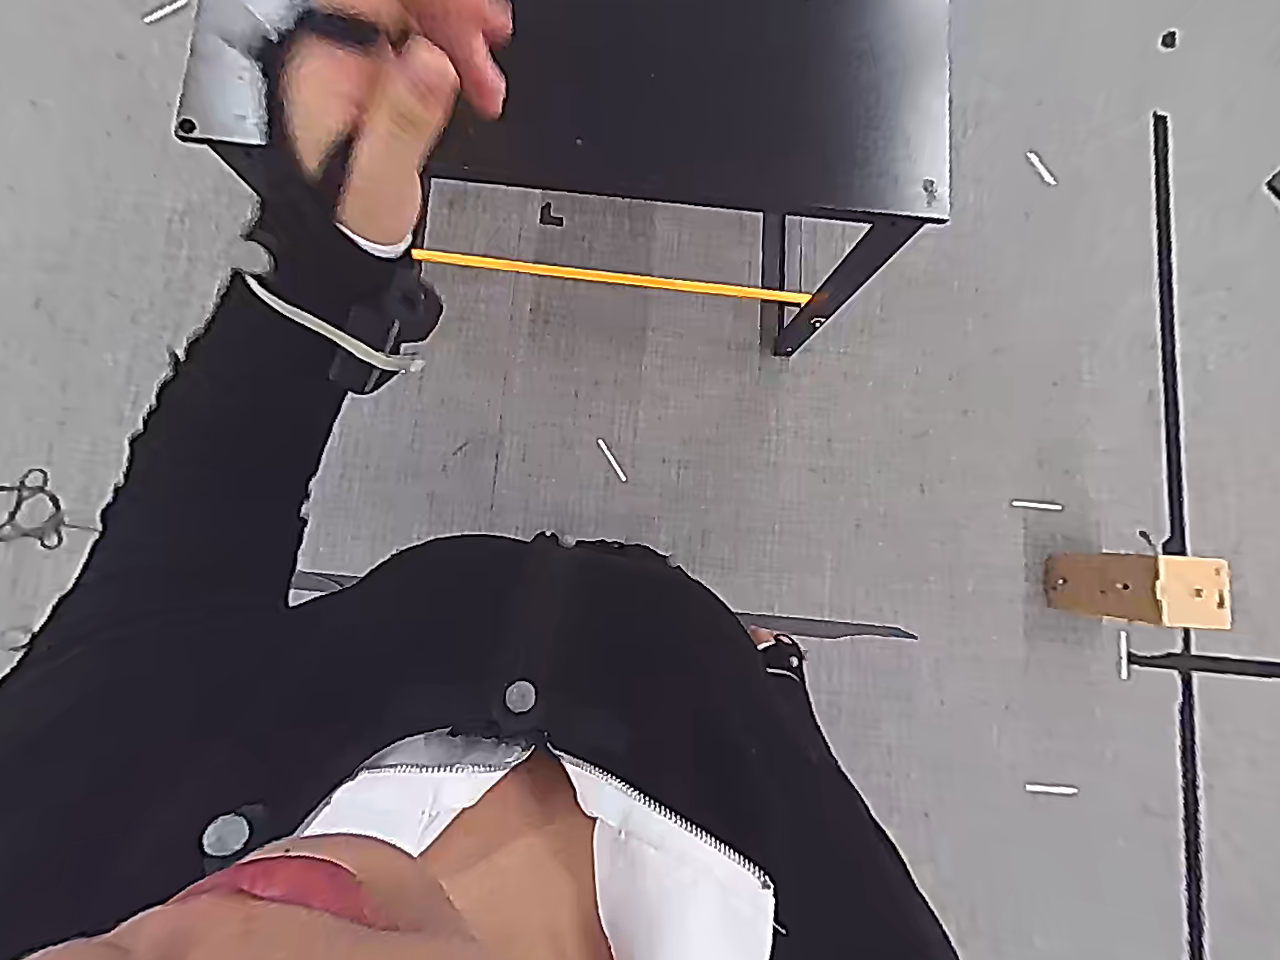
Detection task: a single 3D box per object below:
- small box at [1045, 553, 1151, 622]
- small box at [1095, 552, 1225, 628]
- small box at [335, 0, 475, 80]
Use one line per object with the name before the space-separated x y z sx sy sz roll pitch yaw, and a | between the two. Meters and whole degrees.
small box | 1.284 0.295 1.512 0.179 0.176 0.168 6 83 -3
small box | 1.284 0.269 1.350 0.179 0.176 0.168 4 83 -3
small box | -0.343 -0.731 0.778 0.168 0.176 0.179 5 84 -3
